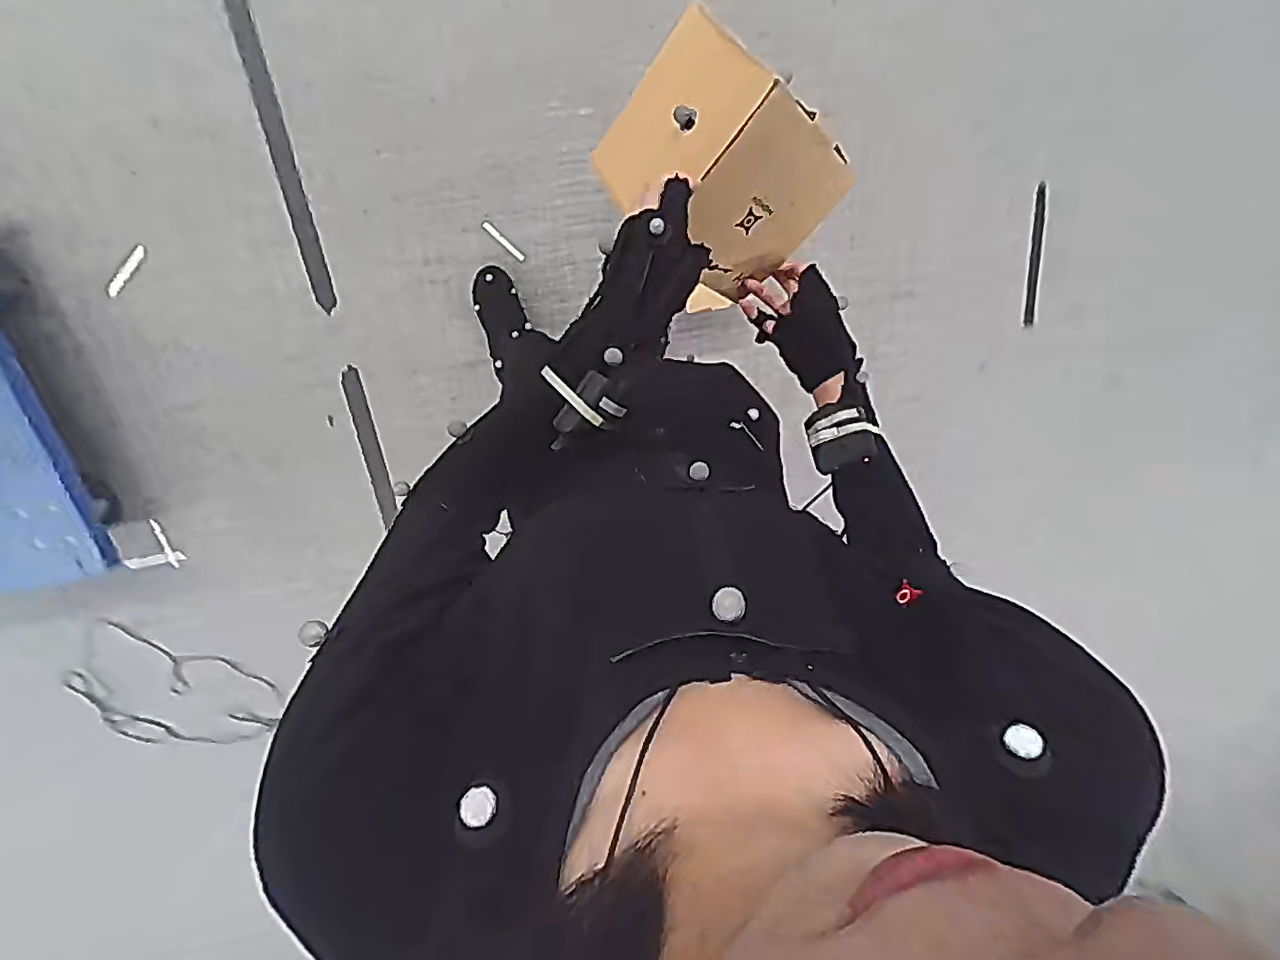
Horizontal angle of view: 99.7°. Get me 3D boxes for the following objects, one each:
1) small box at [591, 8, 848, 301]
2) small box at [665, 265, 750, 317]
[{"bbox_3d":[0.073,-0.332,0.569,0.168,0.176,0.179,7,139,-45],"label":"small box"},{"bbox_3d":[0.158,-0.502,1.312,0.168,0.176,0.179,-12,110,-3],"label":"small box"}]
